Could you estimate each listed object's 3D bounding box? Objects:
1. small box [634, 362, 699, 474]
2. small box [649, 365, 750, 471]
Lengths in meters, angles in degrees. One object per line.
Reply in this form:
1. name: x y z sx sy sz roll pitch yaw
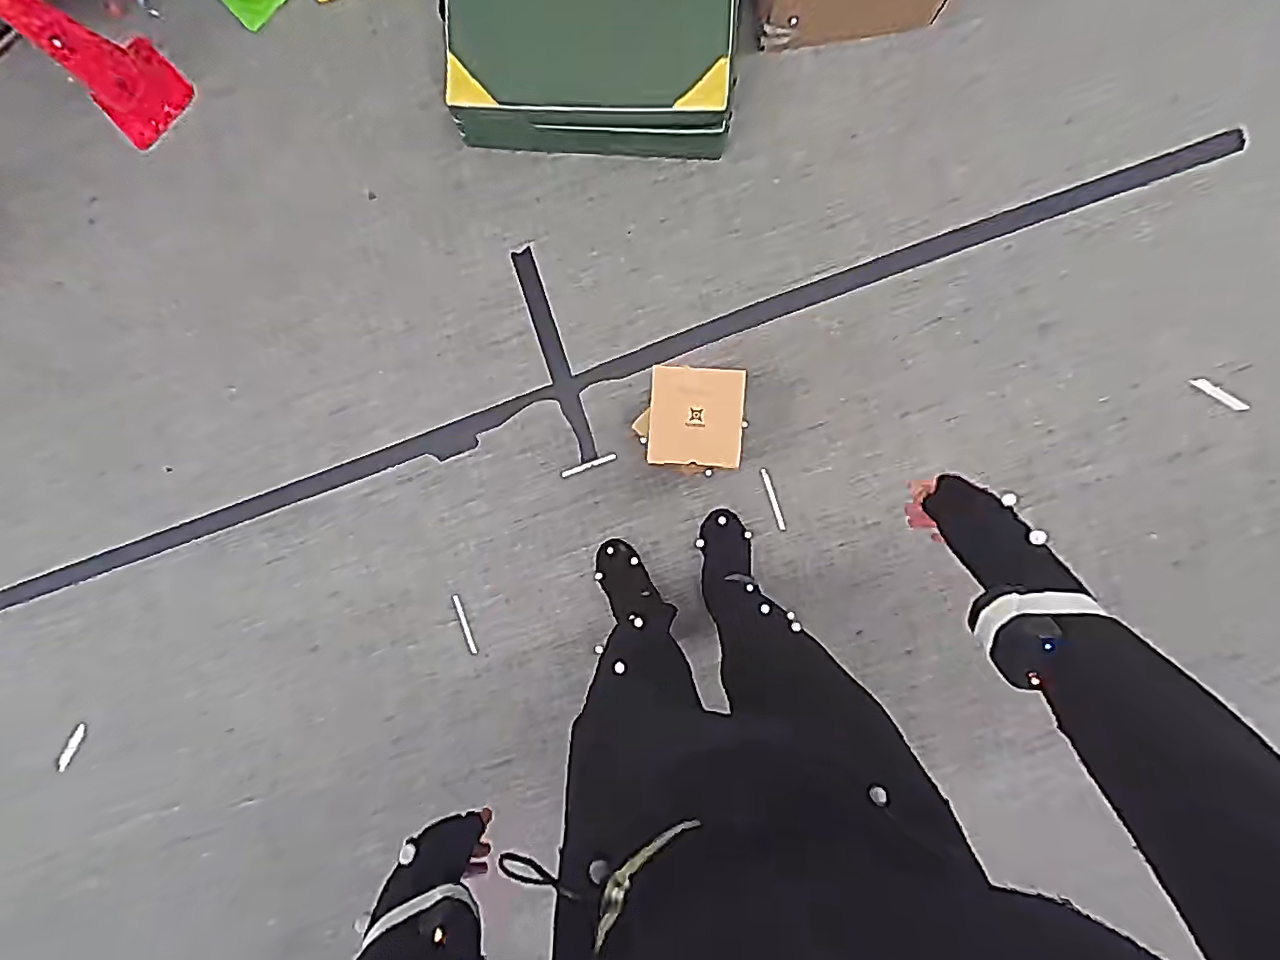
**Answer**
1. small box: 0.108 -0.130 1.195 0.168 0.176 0.179 38 93 2
2. small box: 0.108 -0.113 1.030 0.168 0.176 0.179 4 92 2
